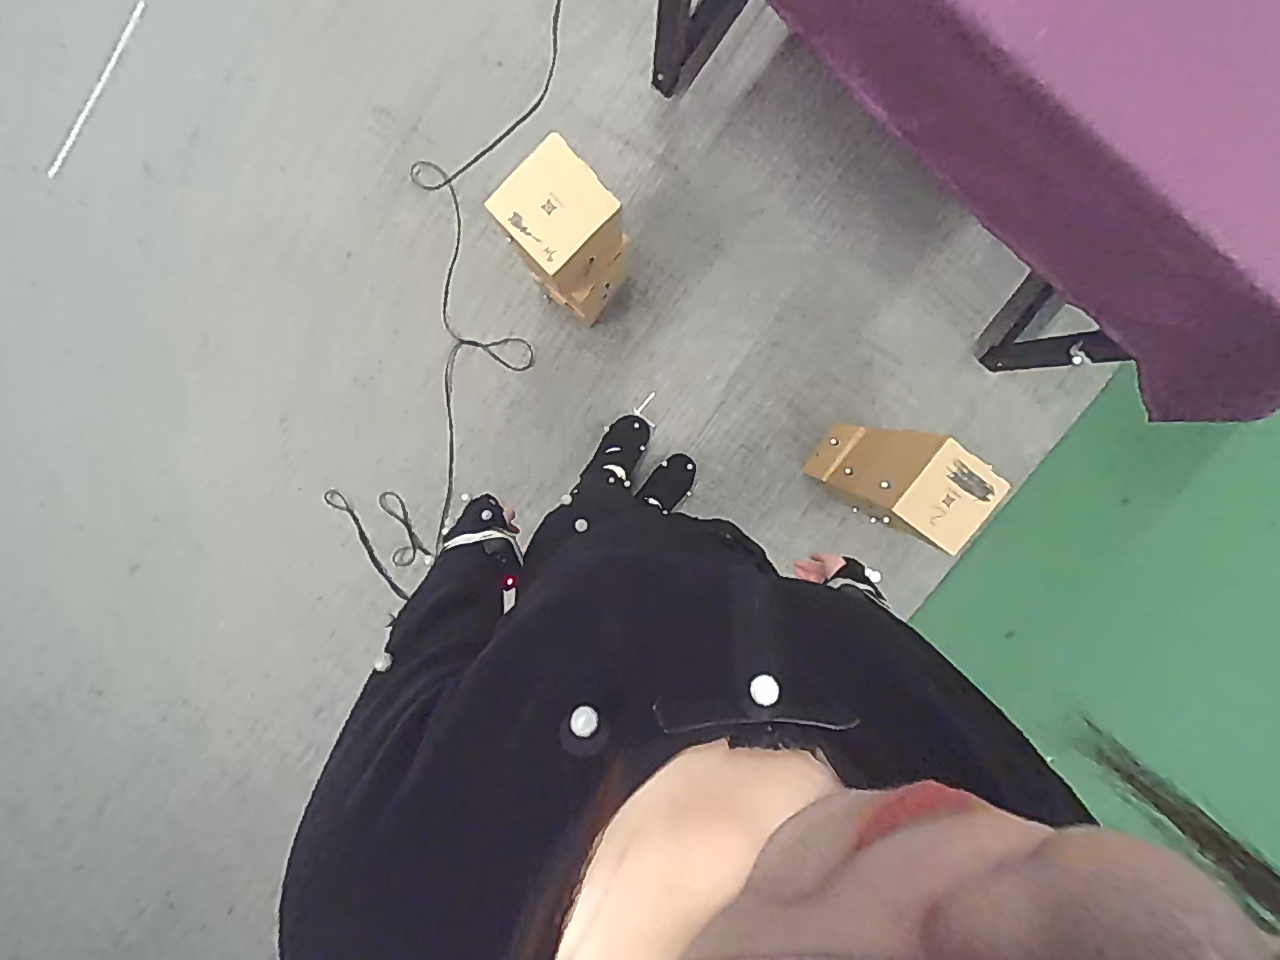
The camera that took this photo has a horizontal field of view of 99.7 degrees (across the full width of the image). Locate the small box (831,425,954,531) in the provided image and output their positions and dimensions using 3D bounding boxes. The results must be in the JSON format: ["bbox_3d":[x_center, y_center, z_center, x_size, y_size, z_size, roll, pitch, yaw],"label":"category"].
[{"bbox_3d":[0.577,-0.011,1.271,0.168,0.176,0.179,37,95,-9],"label":"small box"}]

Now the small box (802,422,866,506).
[{"bbox_3d":[0.562,-0.041,1.430,0.179,0.176,0.168,34,96,-7],"label":"small box"}]

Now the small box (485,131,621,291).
[{"bbox_3d":[-0.154,-0.483,1.001,0.179,0.176,0.168,-43,97,3],"label":"small box"}]

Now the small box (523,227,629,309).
[{"bbox_3d":[-0.143,-0.493,1.167,0.179,0.176,0.168,39,95,-8],"label":"small box"}]
